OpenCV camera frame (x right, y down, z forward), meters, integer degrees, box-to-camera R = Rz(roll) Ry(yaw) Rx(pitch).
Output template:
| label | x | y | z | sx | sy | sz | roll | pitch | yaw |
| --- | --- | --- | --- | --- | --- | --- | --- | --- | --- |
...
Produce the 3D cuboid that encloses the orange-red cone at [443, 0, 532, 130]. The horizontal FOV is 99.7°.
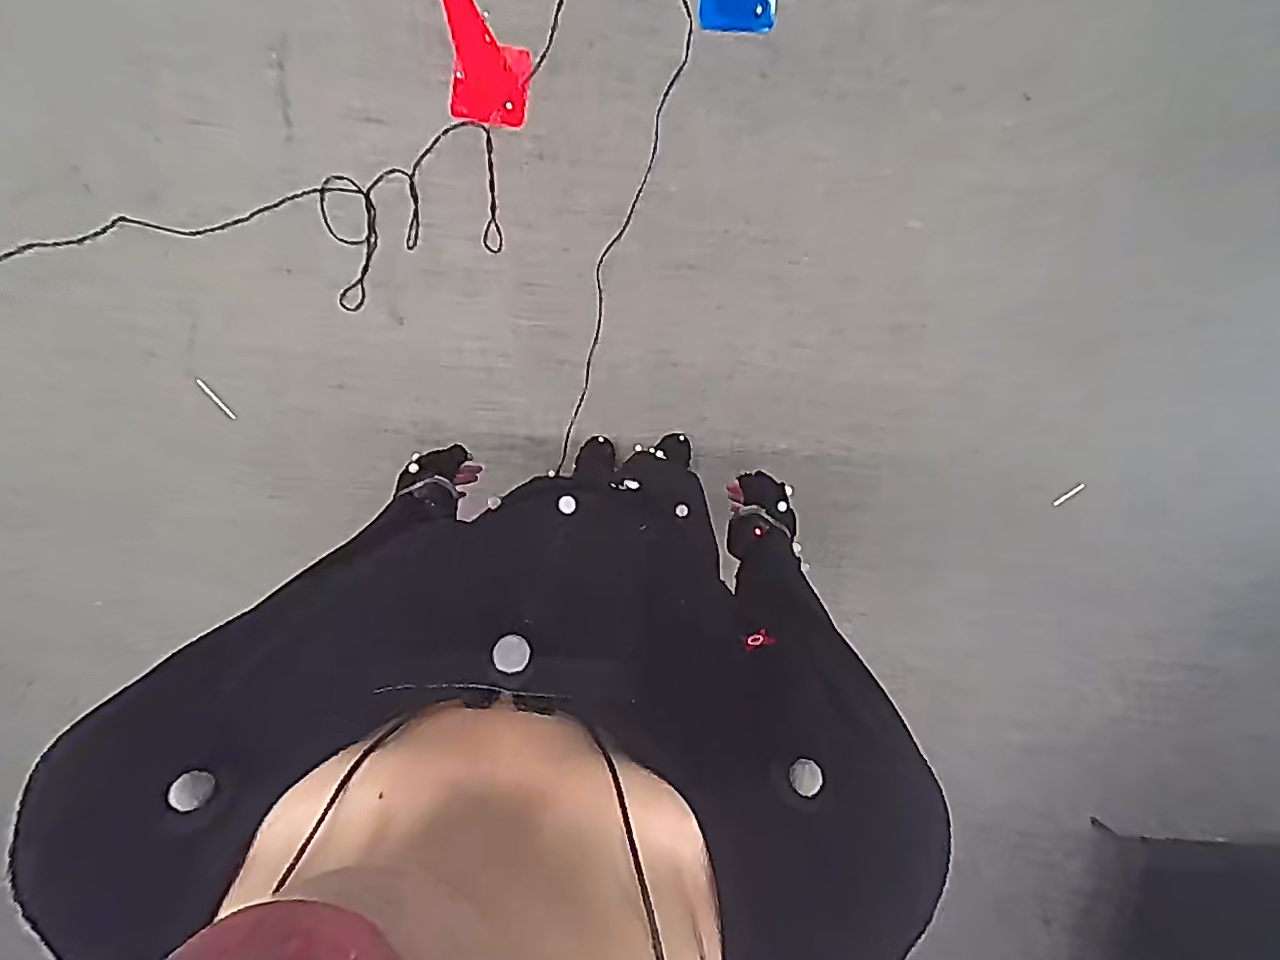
| label | x | y | z | sx | sy | sz | roll | pitch | yaw |
| --- | --- | --- | --- | --- | --- | --- | --- | --- | --- |
| orange-red cone | -0.388 | -1.022 | 1.244 | 0.198 | 0.360 | 0.199 | 9 | 93 | -2 |
